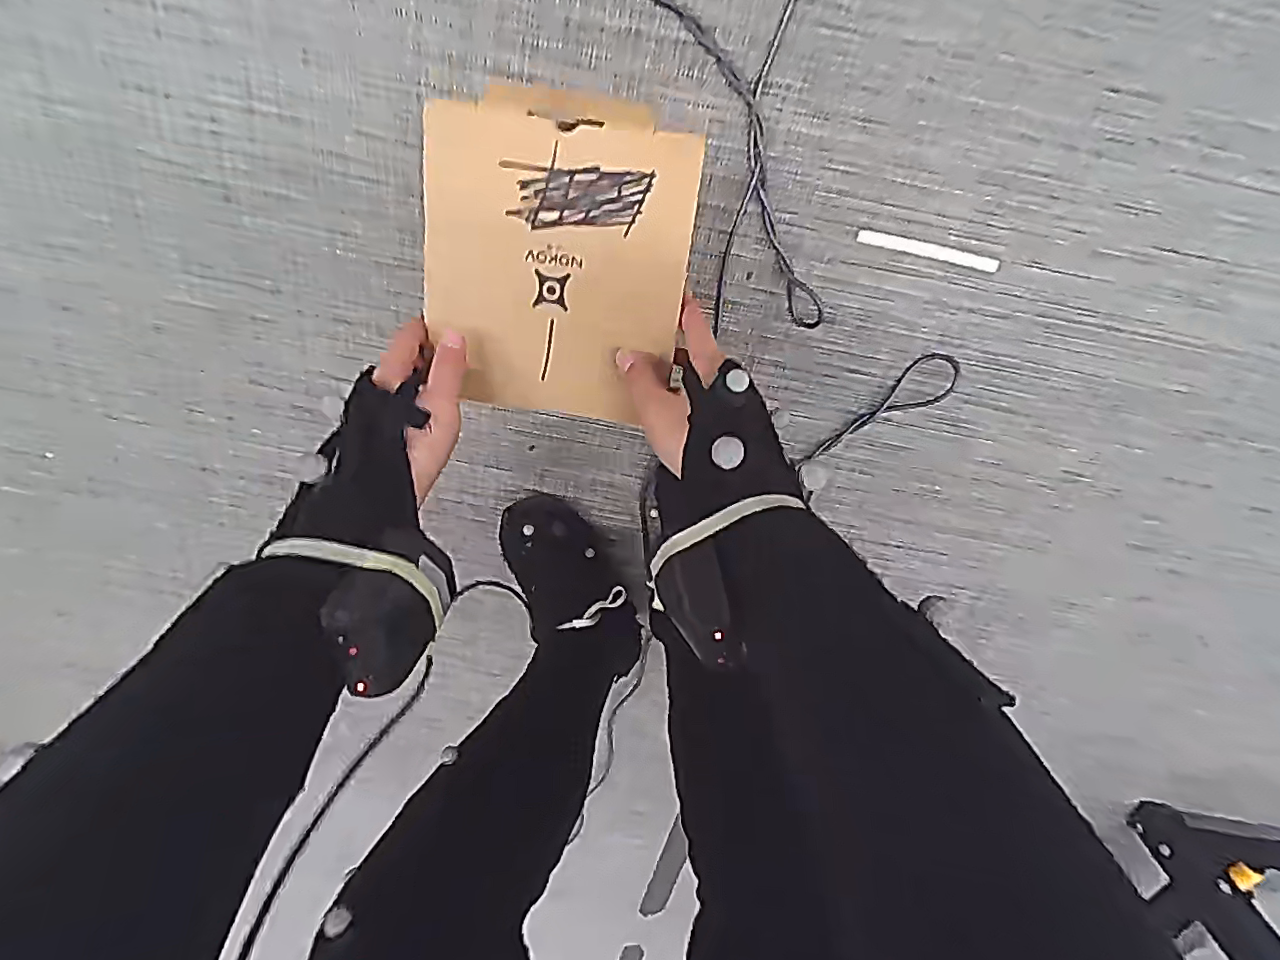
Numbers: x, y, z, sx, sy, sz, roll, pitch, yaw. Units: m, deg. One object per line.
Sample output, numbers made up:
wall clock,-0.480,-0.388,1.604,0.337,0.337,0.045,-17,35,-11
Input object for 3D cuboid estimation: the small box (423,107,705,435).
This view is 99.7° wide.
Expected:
small box,-0.052,-0.148,0.414,0.168,0.176,0.179,8,110,-1
